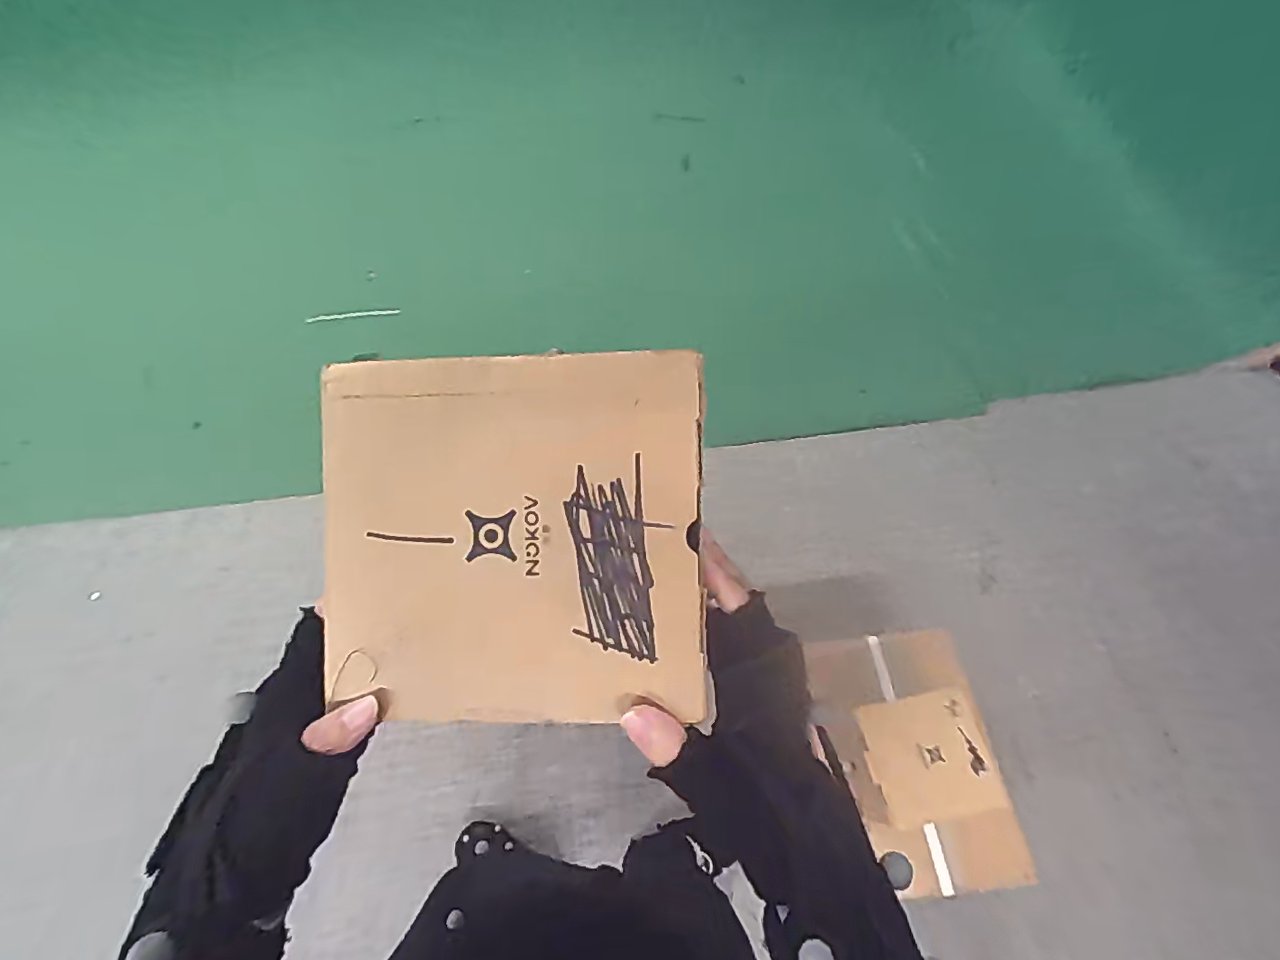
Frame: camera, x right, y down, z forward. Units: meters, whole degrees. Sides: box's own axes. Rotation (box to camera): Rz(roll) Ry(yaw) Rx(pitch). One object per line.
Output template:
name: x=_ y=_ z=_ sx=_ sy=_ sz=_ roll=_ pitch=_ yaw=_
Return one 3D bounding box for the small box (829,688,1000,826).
small box: x=0.426 y=0.447 z=0.882 sx=0.179 sy=0.176 sz=0.168 roll=-10 pitch=64 yaw=-3
